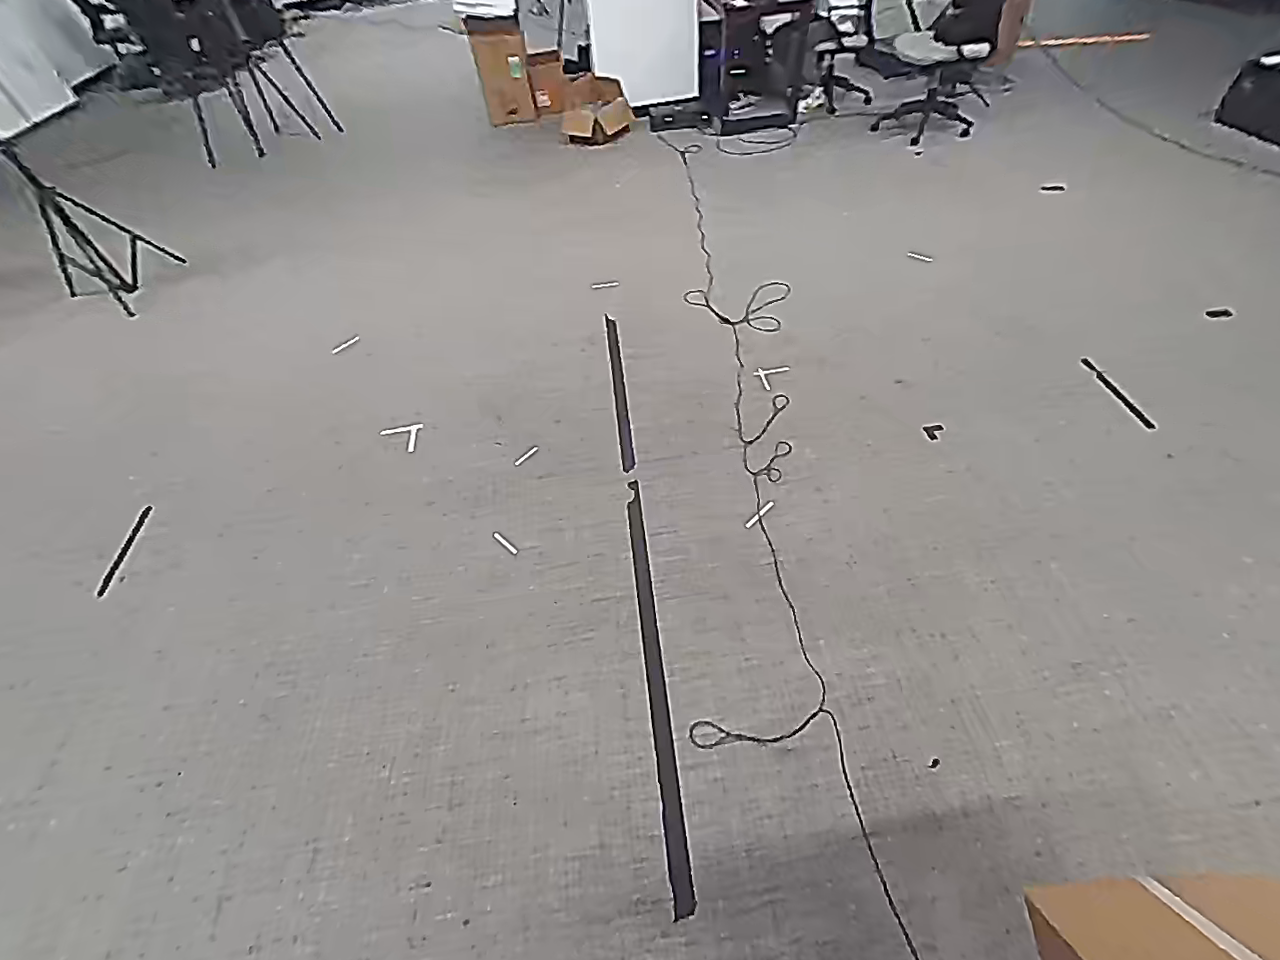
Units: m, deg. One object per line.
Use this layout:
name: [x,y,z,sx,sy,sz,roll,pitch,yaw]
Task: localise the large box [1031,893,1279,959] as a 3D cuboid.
large box: [0.682,0.686,0.525,0.320,0.408,0.320,-10,78,9]
